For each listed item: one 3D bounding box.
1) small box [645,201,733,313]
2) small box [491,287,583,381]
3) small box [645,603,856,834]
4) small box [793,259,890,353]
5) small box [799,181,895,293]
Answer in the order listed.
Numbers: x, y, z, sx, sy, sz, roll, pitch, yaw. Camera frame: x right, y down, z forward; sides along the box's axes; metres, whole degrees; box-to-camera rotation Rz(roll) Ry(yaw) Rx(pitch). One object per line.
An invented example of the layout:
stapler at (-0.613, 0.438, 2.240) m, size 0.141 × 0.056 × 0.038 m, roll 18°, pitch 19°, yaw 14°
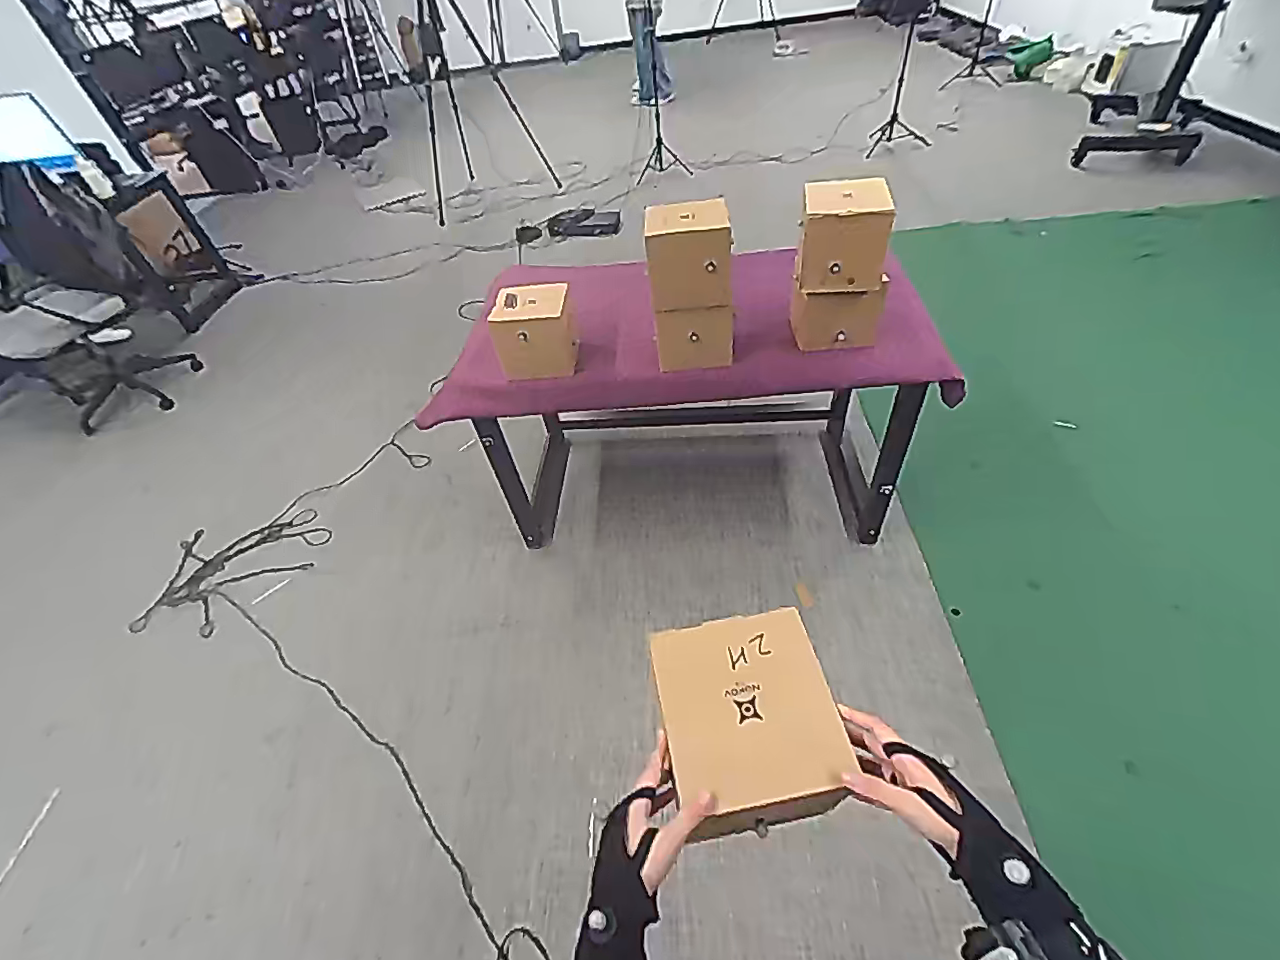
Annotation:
small box at (0.110, -0.486, 1.185) m, size 0.179 × 0.176 × 0.168 m, roll -3°, pitch 44°, yaw 8°
small box at (-0.249, -0.361, 1.354) m, size 0.179 × 0.176 × 0.168 m, roll -3°, pitch 45°, yaw 5°
small box at (0.104, 0.261, 0.579) m, size 0.168 × 0.176 × 0.179 m, roll -10°, pitch 48°, yaw -3°
small box at (0.471, -0.422, 1.291) m, size 0.179 × 0.176 × 0.168 m, roll -3°, pitch 45°, yaw 7°
small box at (0.435, -0.520, 1.164) m, size 0.168 × 0.176 × 0.179 m, roll 2°, pitch 47°, yaw 13°
